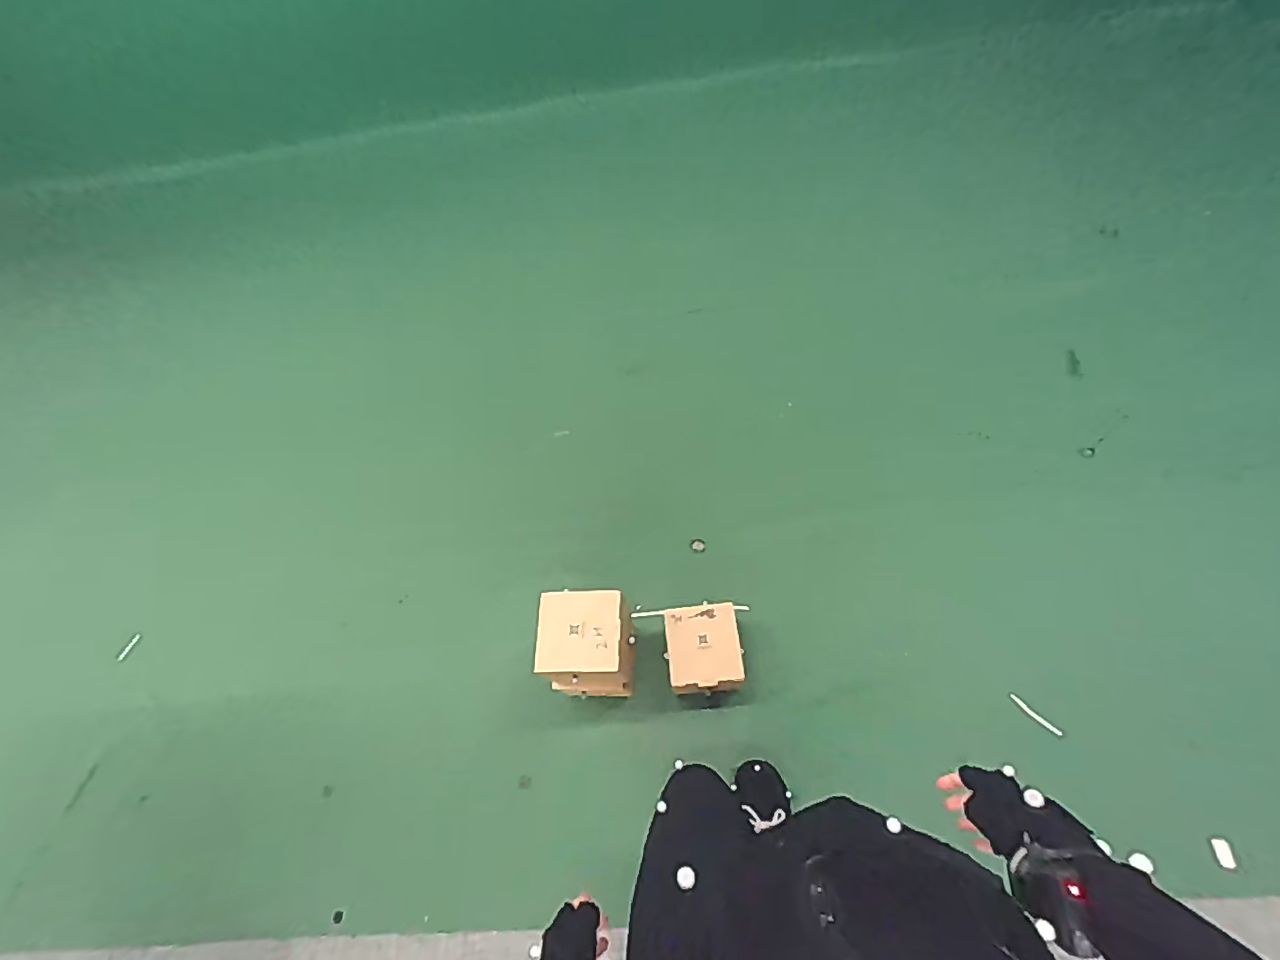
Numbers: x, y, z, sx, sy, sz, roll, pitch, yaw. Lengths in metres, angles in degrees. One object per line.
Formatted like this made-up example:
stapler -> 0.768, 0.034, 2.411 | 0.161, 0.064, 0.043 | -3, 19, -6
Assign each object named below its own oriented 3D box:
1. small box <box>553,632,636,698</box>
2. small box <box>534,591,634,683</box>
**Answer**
small box -> -0.103, 0.434, 1.322 | 0.168, 0.176, 0.179 | -1, 62, 7
small box -> -0.115, 0.348, 1.181 | 0.179, 0.176, 0.168 | -3, 62, 7
